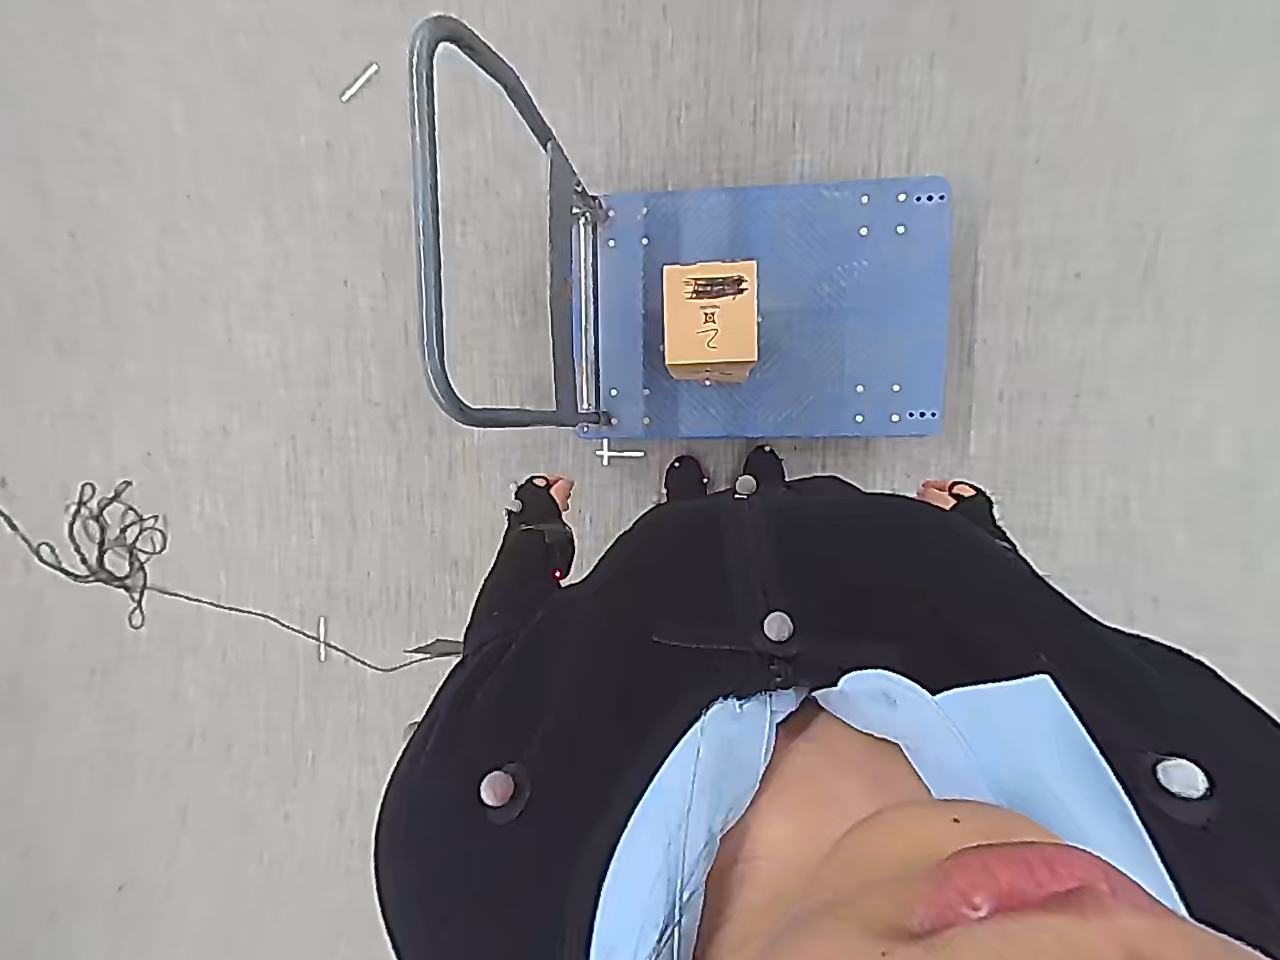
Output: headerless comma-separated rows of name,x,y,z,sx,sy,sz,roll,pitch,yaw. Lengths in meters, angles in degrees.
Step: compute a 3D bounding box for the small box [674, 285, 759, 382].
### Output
small box,0.165,-0.316,1.193,0.168,0.176,0.179,4,96,6
